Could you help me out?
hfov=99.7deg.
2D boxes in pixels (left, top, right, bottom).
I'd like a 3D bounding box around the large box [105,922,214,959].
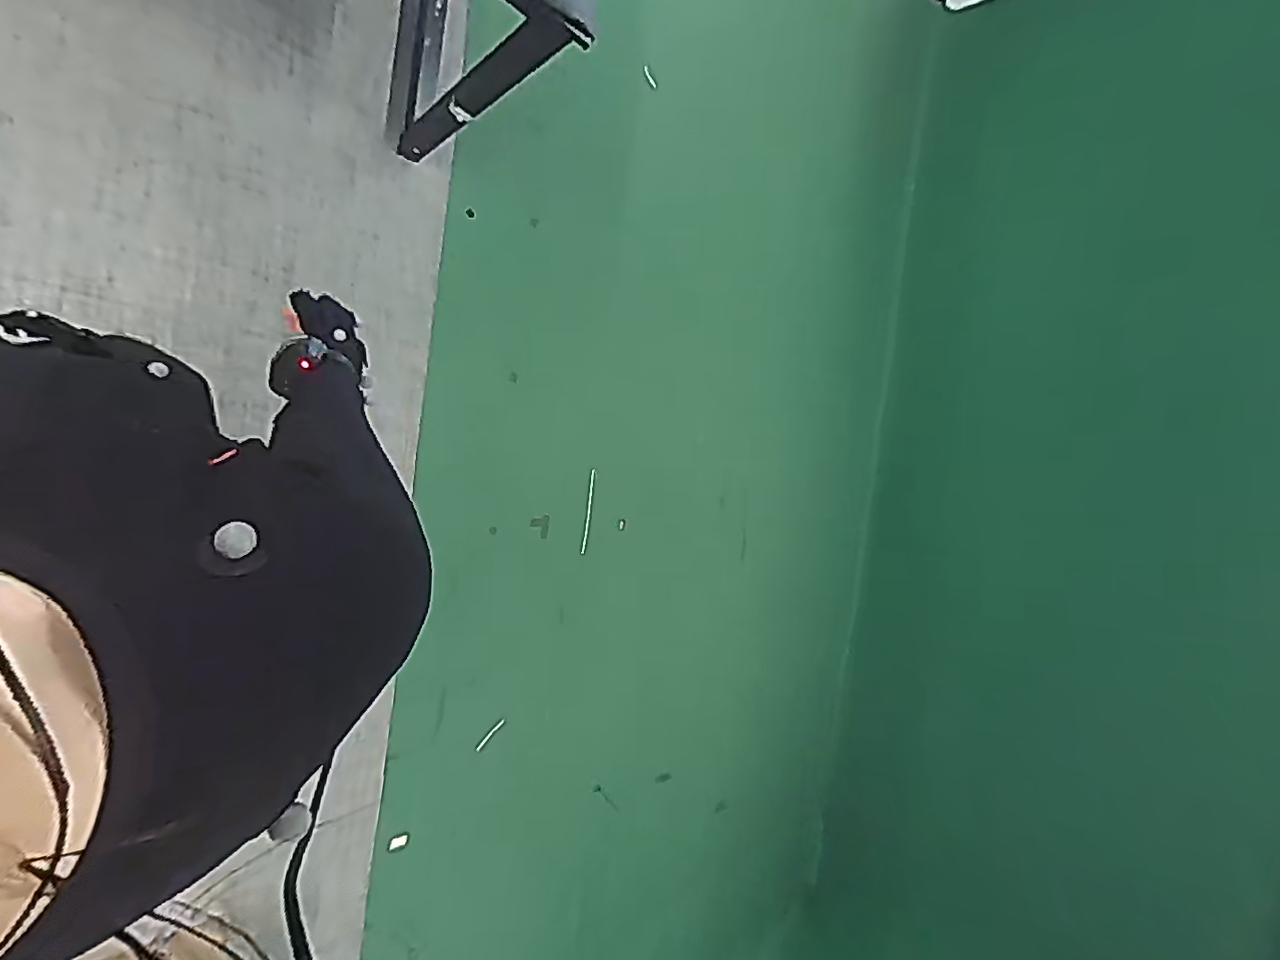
[{"bbox_3d":[-1.103,1.212,1.065,0.408,0.320,0.320,6,92,-48],"label":"large box"}]
